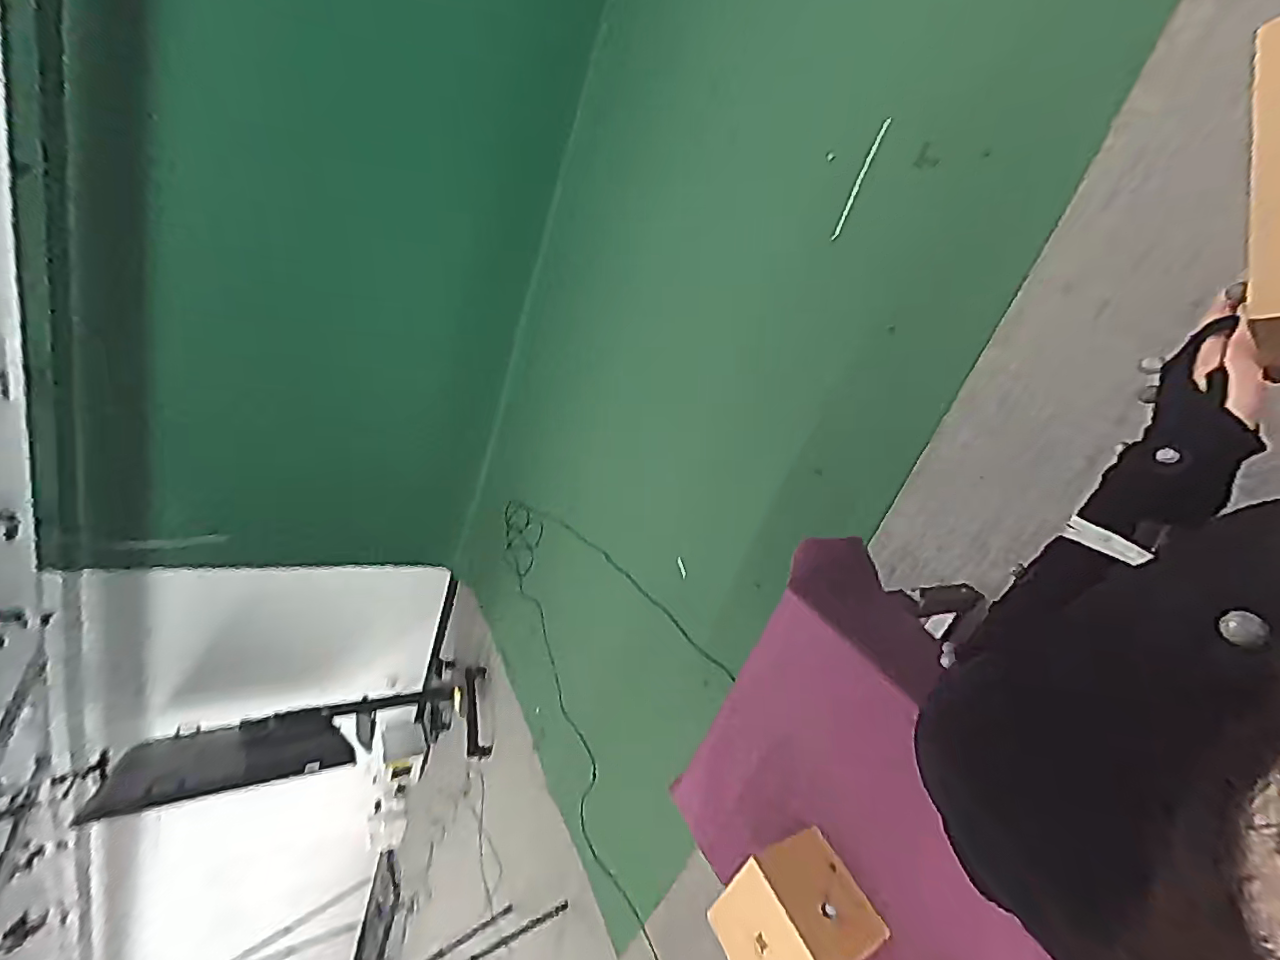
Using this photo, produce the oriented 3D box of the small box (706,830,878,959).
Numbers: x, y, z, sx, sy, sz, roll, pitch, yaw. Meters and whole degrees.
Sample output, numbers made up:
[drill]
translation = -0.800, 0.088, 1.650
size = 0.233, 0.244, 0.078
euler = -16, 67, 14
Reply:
[small box]
translation = 0.244, 0.702, 0.860
size = 0.168, 0.176, 0.179
euler = 49, 124, 45
